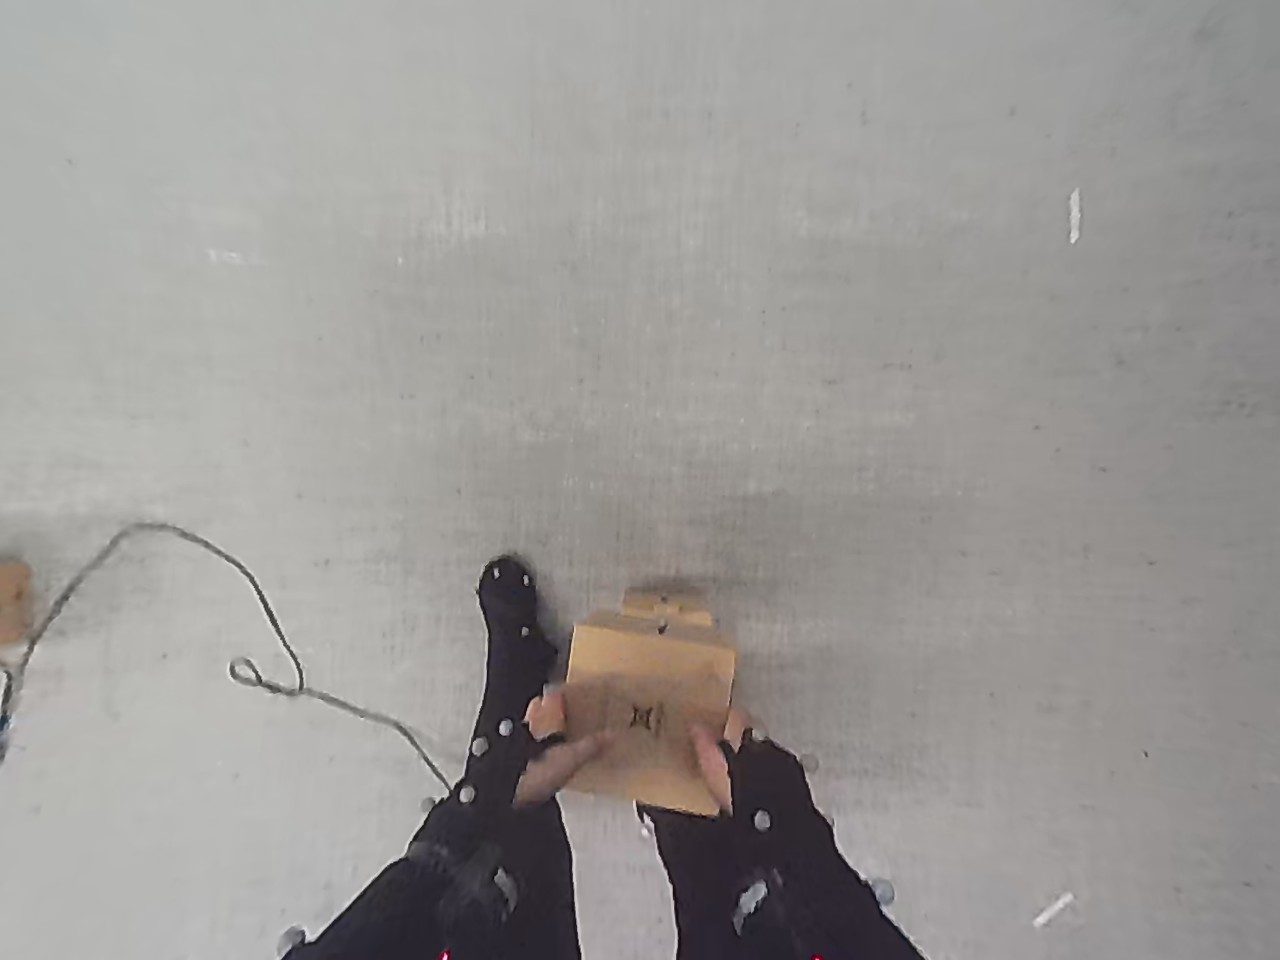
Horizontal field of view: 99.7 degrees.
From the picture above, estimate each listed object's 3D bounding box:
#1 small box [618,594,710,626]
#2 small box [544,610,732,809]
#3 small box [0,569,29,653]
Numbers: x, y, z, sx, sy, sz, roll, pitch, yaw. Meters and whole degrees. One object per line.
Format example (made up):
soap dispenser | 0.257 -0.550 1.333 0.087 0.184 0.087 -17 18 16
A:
small box | 0.038 0.317 1.032 0.168 0.176 0.179 2 87 0
small box | 0.003 0.249 0.631 0.179 0.176 0.168 7 81 5
small box | -1.344 0.268 1.039 0.179 0.176 0.168 -7 87 0
